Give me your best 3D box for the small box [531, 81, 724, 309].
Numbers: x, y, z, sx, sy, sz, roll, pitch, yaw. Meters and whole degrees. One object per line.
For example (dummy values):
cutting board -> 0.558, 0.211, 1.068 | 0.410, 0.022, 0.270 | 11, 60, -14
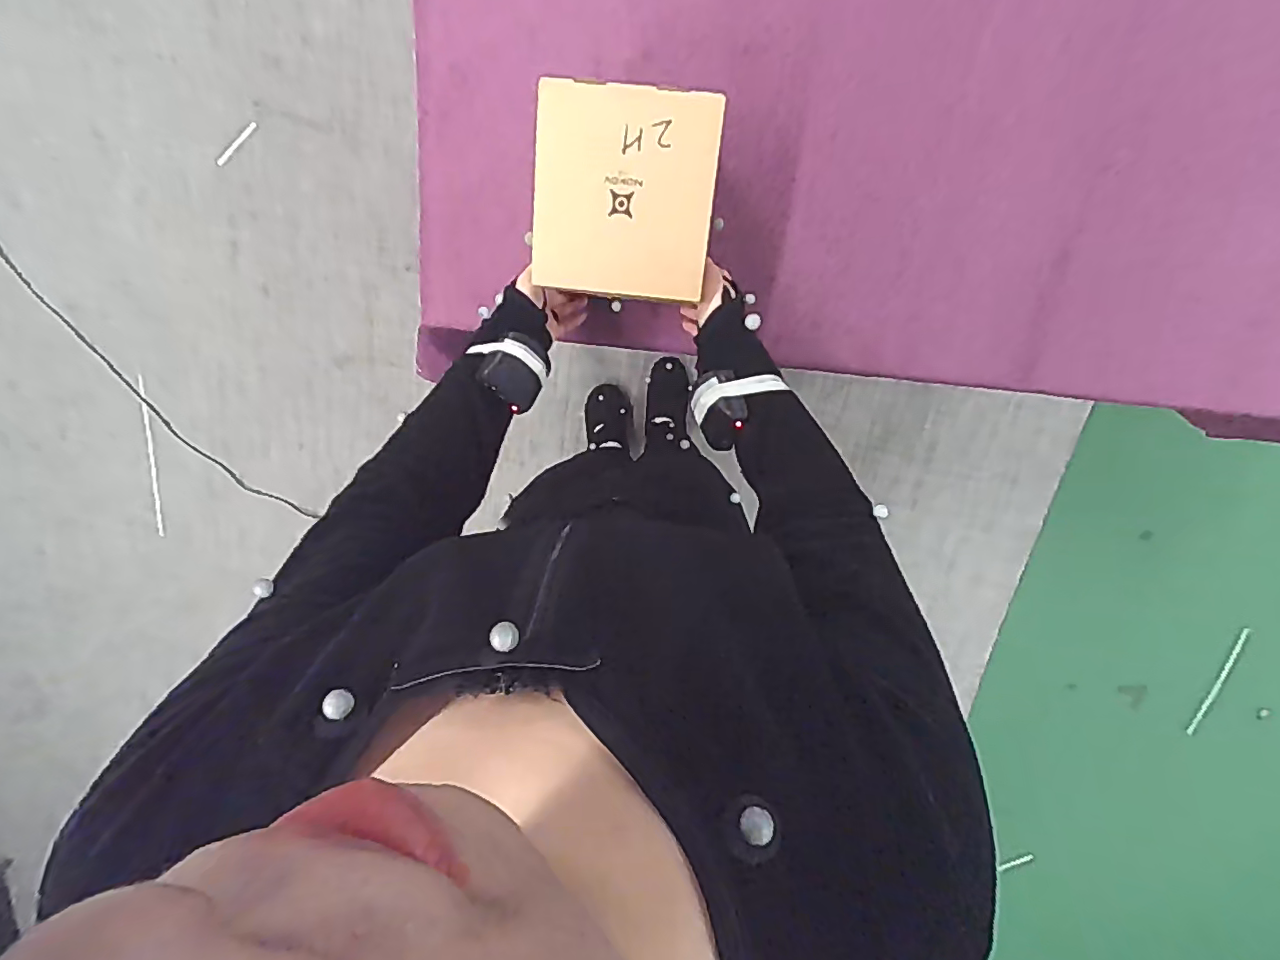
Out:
small box -> -0.011, -0.280, 0.573 | 0.168, 0.176, 0.179 | 7, 106, 1
